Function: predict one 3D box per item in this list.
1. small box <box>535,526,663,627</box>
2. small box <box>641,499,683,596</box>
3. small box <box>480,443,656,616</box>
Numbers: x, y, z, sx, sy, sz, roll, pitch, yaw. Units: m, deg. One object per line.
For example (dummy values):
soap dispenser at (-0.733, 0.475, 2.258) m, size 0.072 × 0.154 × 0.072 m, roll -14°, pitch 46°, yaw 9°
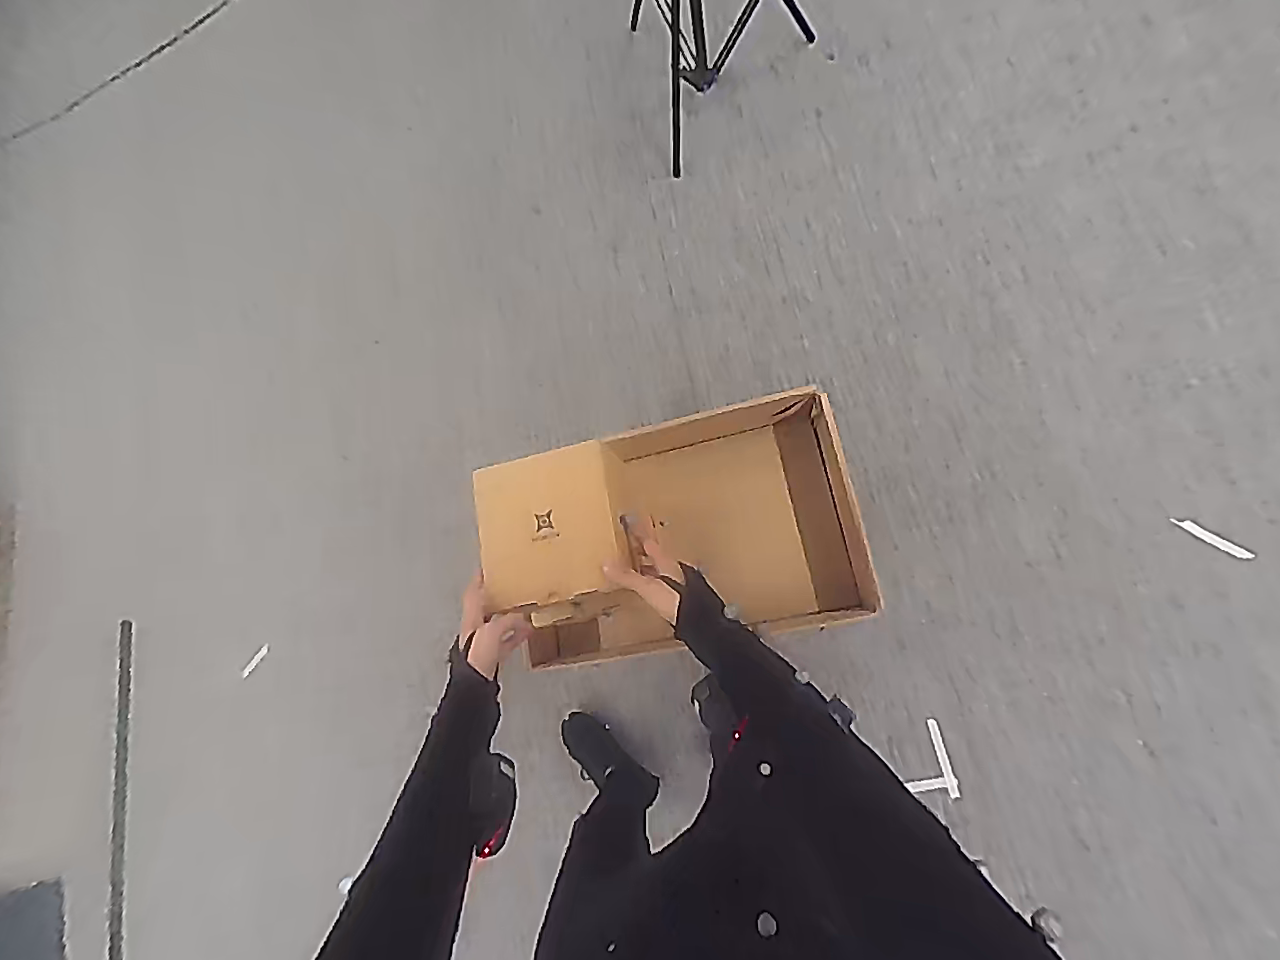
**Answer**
small box at (-0.071, 0.124, 0.853) m, size 0.168 × 0.176 × 0.179 m, roll -17°, pitch 76°, yaw 9°
small box at (-0.026, 0.147, 1.009) m, size 0.179 × 0.176 × 0.168 m, roll -19°, pitch 75°, yaw 9°
small box at (-0.085, 0.072, 0.696) m, size 0.168 × 0.176 × 0.179 m, roll -14°, pitch 76°, yaw 9°
